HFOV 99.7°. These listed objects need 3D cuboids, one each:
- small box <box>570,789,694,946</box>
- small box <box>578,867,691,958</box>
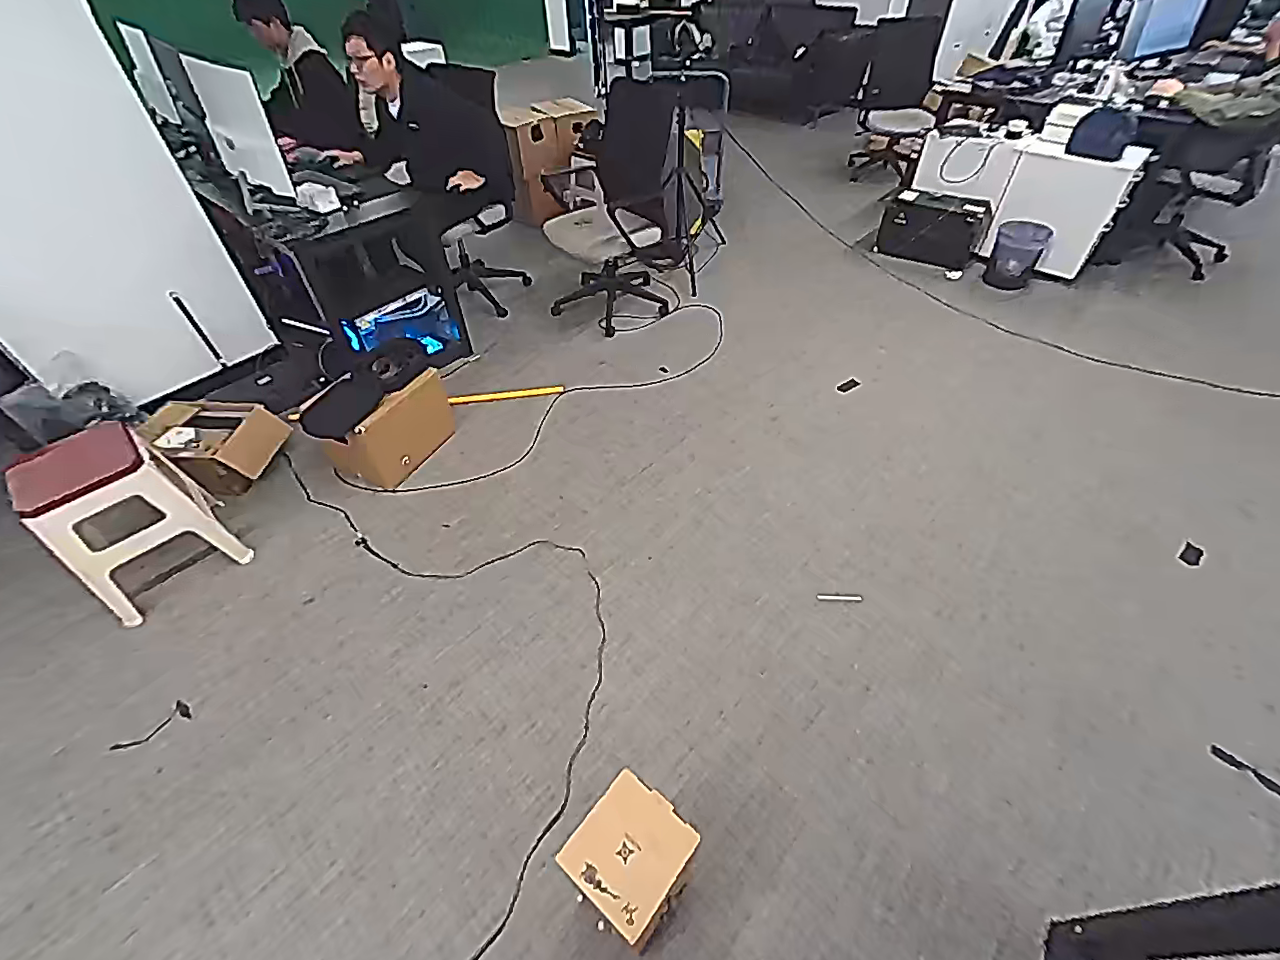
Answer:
[{"bbox_3d":[-0.011,0.747,1.040,0.168,0.176,0.179,28,51,24],"label":"small box"},{"bbox_3d":[-0.010,0.864,1.152,0.168,0.176,0.179,30,55,27],"label":"small box"}]
